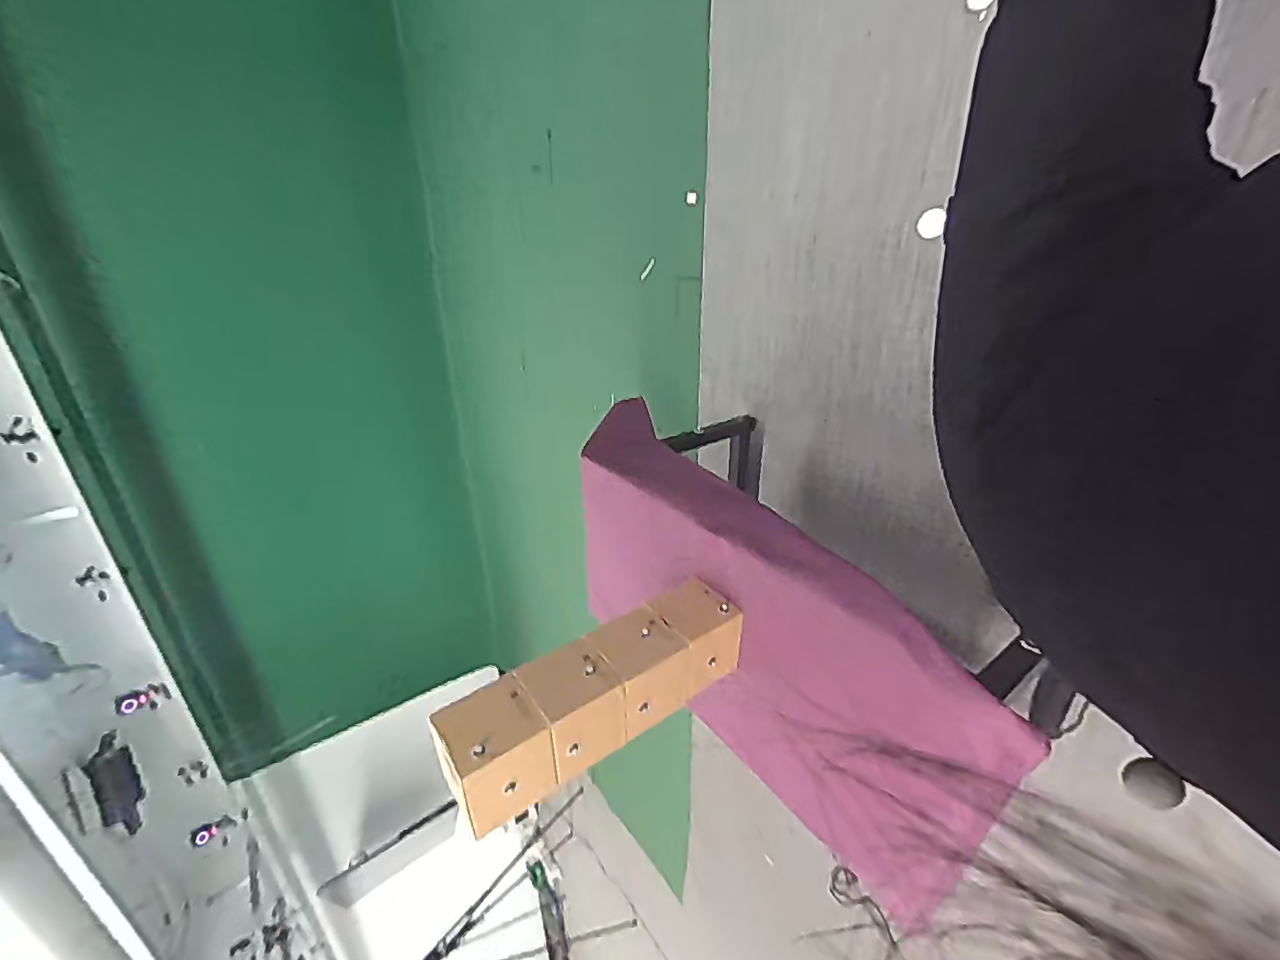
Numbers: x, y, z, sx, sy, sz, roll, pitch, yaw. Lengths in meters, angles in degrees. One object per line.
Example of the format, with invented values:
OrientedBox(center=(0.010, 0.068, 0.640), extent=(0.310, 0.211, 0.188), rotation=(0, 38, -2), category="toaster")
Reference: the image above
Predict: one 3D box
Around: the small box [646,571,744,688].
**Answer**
OrientedBox(center=(0.127, 0.343, 1.279), extent=(0.168, 0.176, 0.179), rotation=(32, 131, 45), category="small box")

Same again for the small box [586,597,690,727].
OrientedBox(center=(-0.004, 0.394, 1.194), extent=(0.168, 0.176, 0.179), rotation=(31, 130, 45), category="small box")

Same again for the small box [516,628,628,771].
OrientedBox(center=(-0.135, 0.441, 1.109), extent=(0.168, 0.176, 0.179), rotation=(31, 130, 45), category="small box")
